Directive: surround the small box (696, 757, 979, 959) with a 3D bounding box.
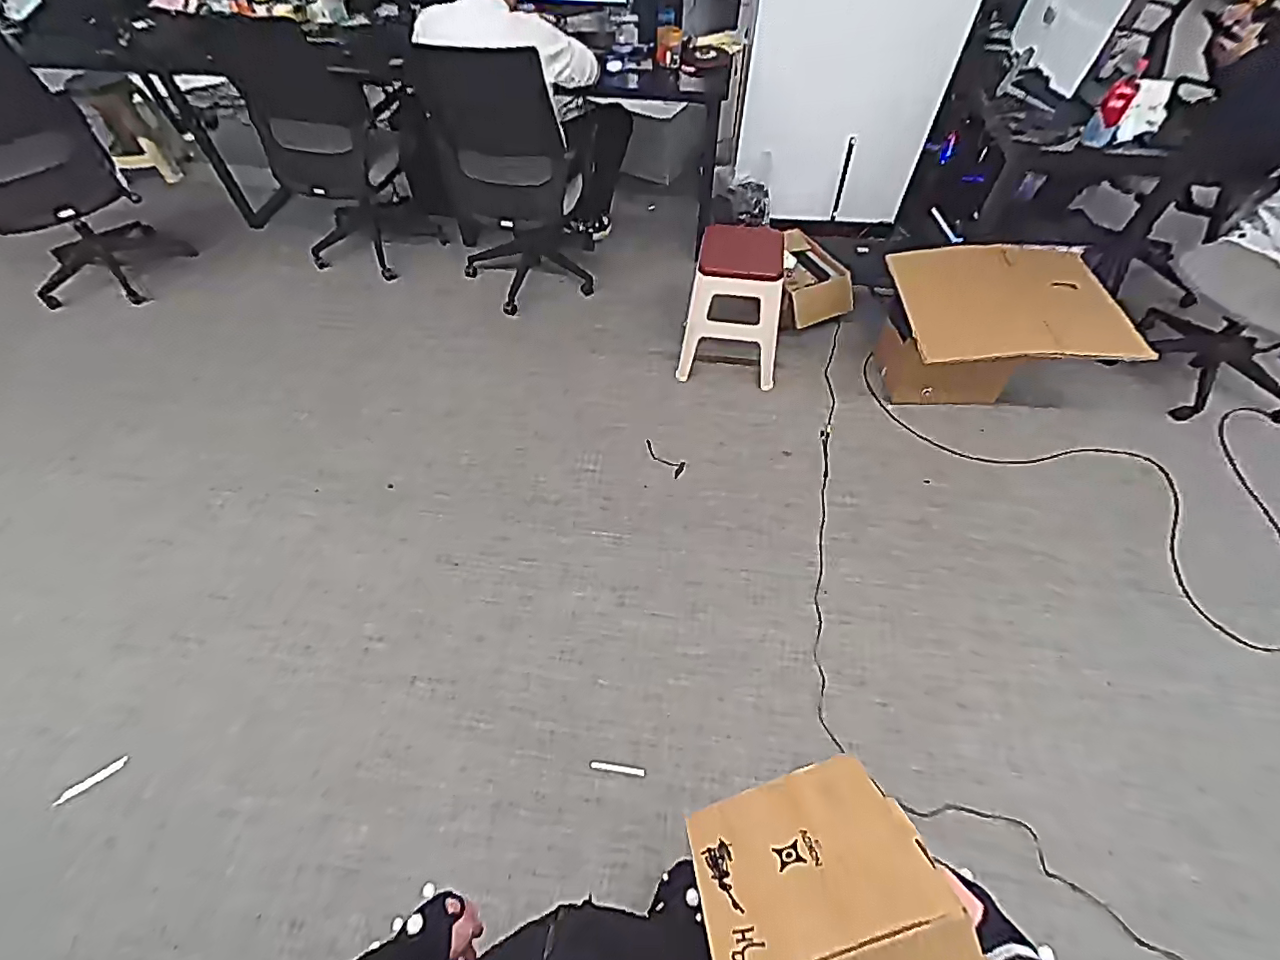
[{"bbox_3d":[0.165,0.385,0.460,0.179,0.168,0.176,-19,97,-1],"label":"small box"}]
